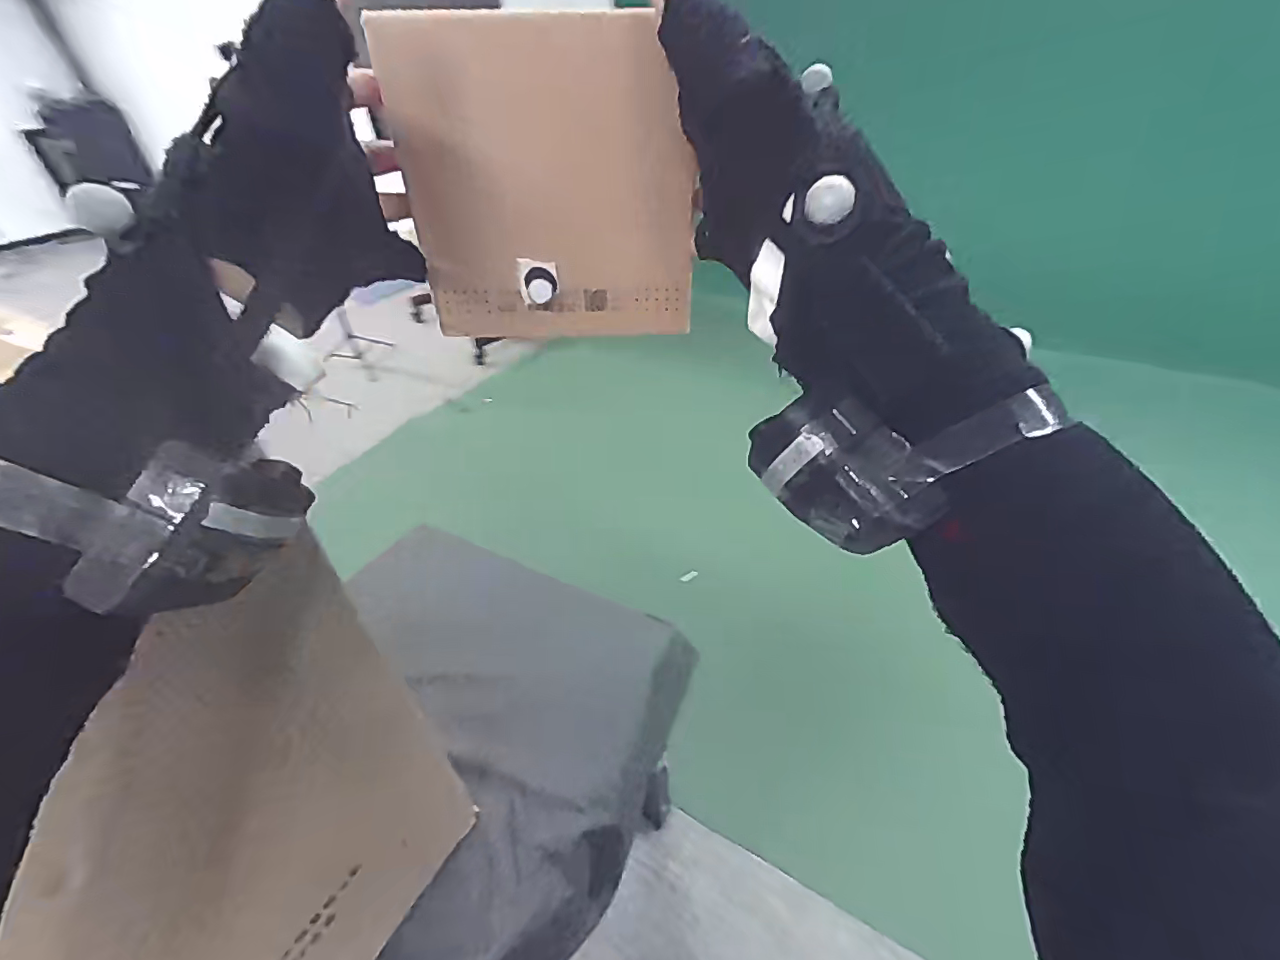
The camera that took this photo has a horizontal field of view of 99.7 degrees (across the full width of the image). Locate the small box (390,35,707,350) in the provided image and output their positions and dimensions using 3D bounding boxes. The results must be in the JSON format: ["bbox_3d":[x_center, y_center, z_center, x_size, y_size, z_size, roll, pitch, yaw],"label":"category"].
[{"bbox_3d":[-0.047,-0.207,0.387,0.168,0.176,0.179,-1,40,0],"label":"small box"}]
